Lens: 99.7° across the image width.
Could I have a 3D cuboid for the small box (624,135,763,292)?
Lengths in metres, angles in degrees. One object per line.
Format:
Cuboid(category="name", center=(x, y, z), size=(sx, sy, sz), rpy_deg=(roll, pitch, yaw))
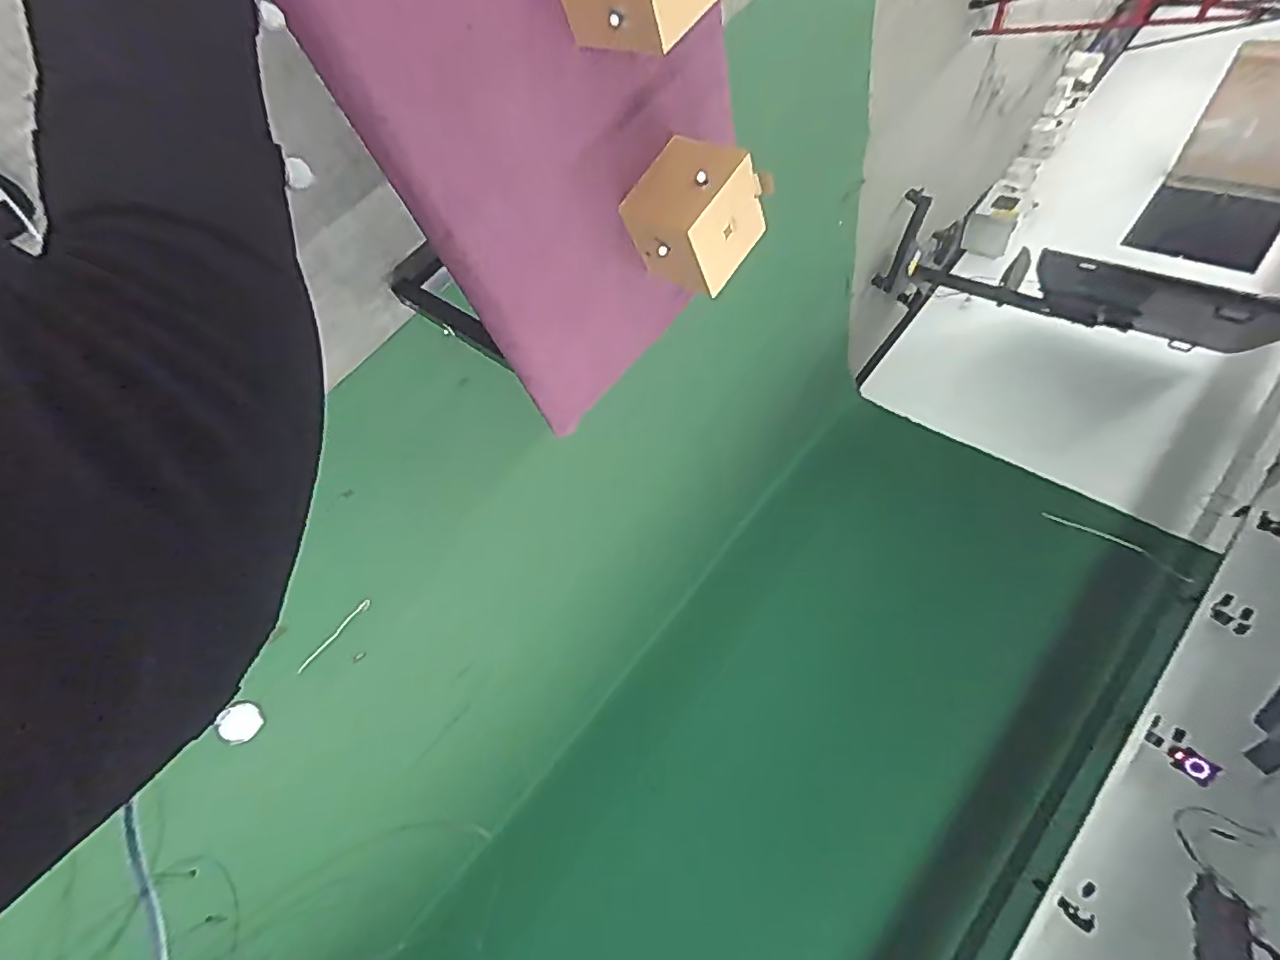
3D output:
Cuboid(category="small box", center=(0.092, -0.479, 0.972), size=(0.179, 0.176, 0.168), rpy_deg=(-54, 150, -5))
